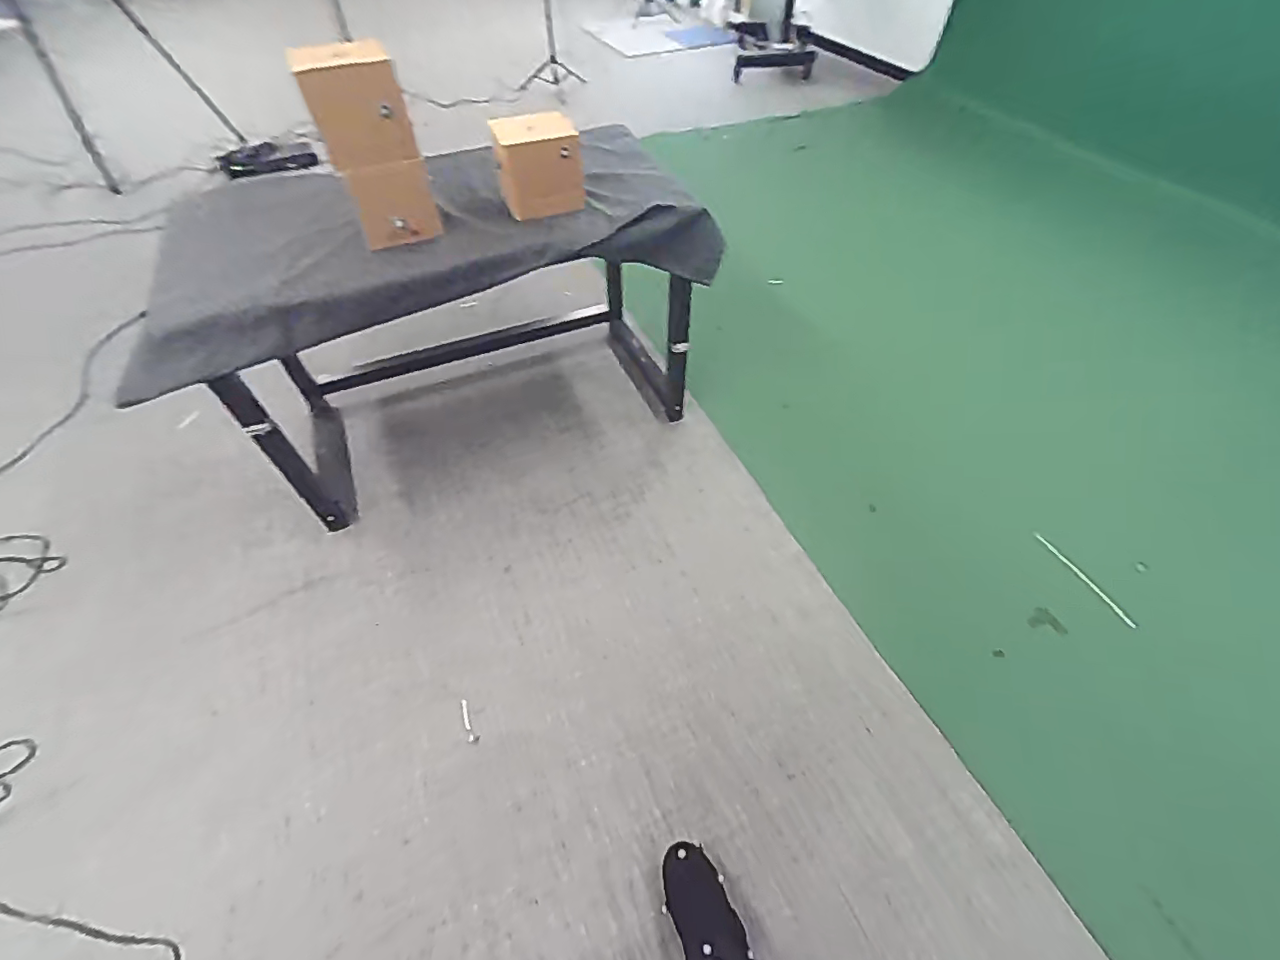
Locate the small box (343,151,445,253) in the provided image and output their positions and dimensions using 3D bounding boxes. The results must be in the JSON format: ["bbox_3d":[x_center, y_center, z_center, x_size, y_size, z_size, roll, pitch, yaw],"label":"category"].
[{"bbox_3d":[-0.558,-0.642,1.220,0.168,0.176,0.179,-20,54,-14],"label":"small box"}]

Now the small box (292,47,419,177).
[{"bbox_3d":[-0.565,-0.741,1.091,0.179,0.176,0.168,-21,53,-14],"label":"small box"}]

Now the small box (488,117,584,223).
[{"bbox_3d":[-0.246,-0.741,1.299,0.179,0.176,0.168,-18,53,-14],"label":"small box"}]
